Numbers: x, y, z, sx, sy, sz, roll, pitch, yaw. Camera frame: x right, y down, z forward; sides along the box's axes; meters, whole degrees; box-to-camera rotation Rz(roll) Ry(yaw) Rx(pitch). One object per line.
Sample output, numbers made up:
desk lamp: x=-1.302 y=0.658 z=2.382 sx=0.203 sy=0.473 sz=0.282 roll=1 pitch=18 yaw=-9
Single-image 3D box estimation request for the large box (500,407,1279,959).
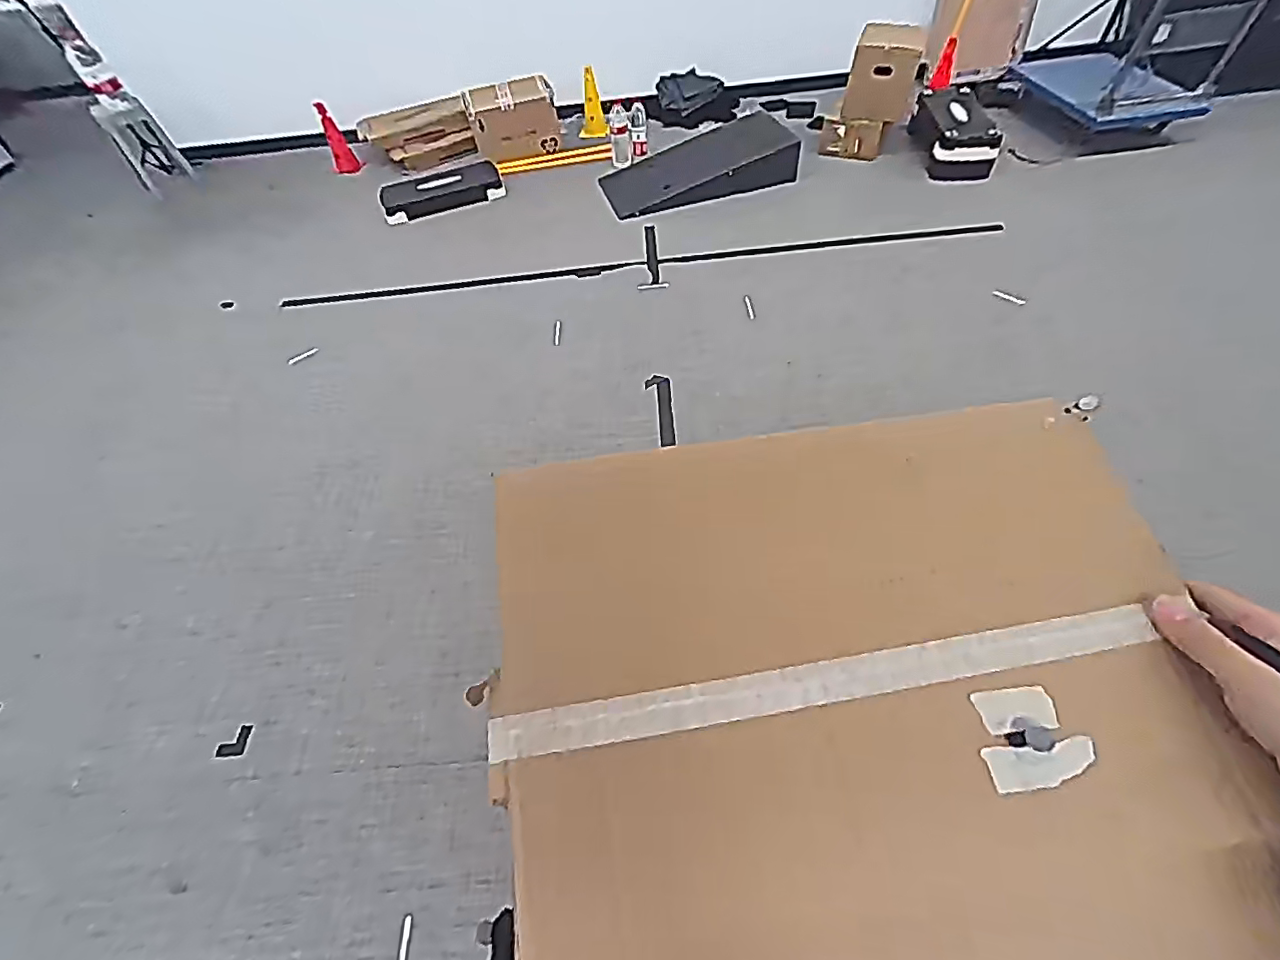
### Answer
large box: x=0.122 y=0.175 z=0.446 sx=0.408 sy=0.320 sz=0.320 roll=-8 pitch=66 yaw=-6
